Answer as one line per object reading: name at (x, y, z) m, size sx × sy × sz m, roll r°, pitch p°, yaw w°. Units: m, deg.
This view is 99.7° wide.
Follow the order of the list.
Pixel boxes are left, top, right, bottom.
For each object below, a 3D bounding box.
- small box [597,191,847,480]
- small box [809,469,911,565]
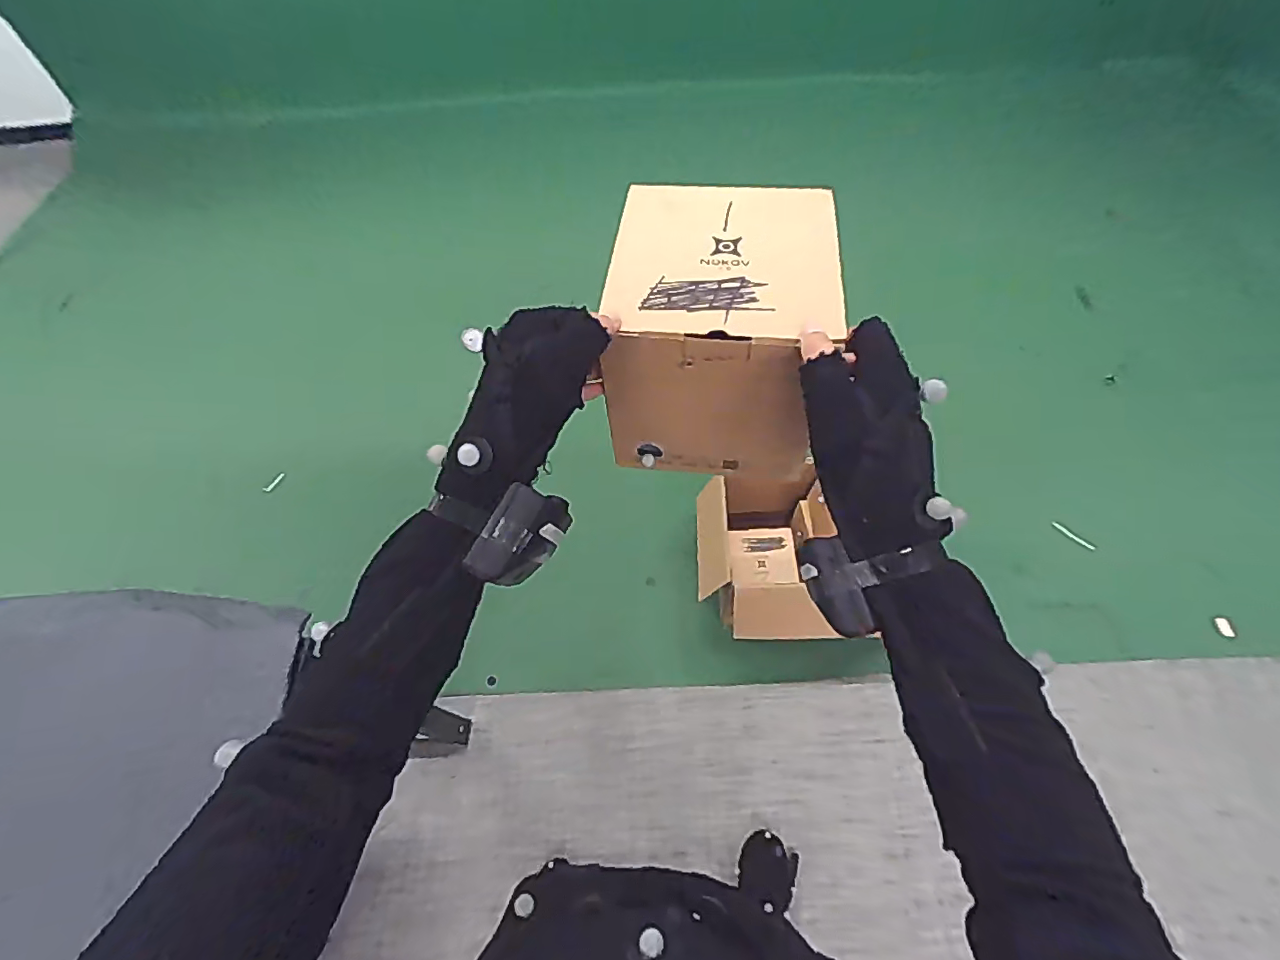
small box at (0.068, -0.116, 0.459) m, size 0.168 × 0.176 × 0.179 m, roll 5°, pitch 57°, yaw 7°
small box at (0.510, 0.092, 1.280) m, size 0.168 × 0.176 × 0.179 m, roll 1°, pitch 58°, yaw 2°
